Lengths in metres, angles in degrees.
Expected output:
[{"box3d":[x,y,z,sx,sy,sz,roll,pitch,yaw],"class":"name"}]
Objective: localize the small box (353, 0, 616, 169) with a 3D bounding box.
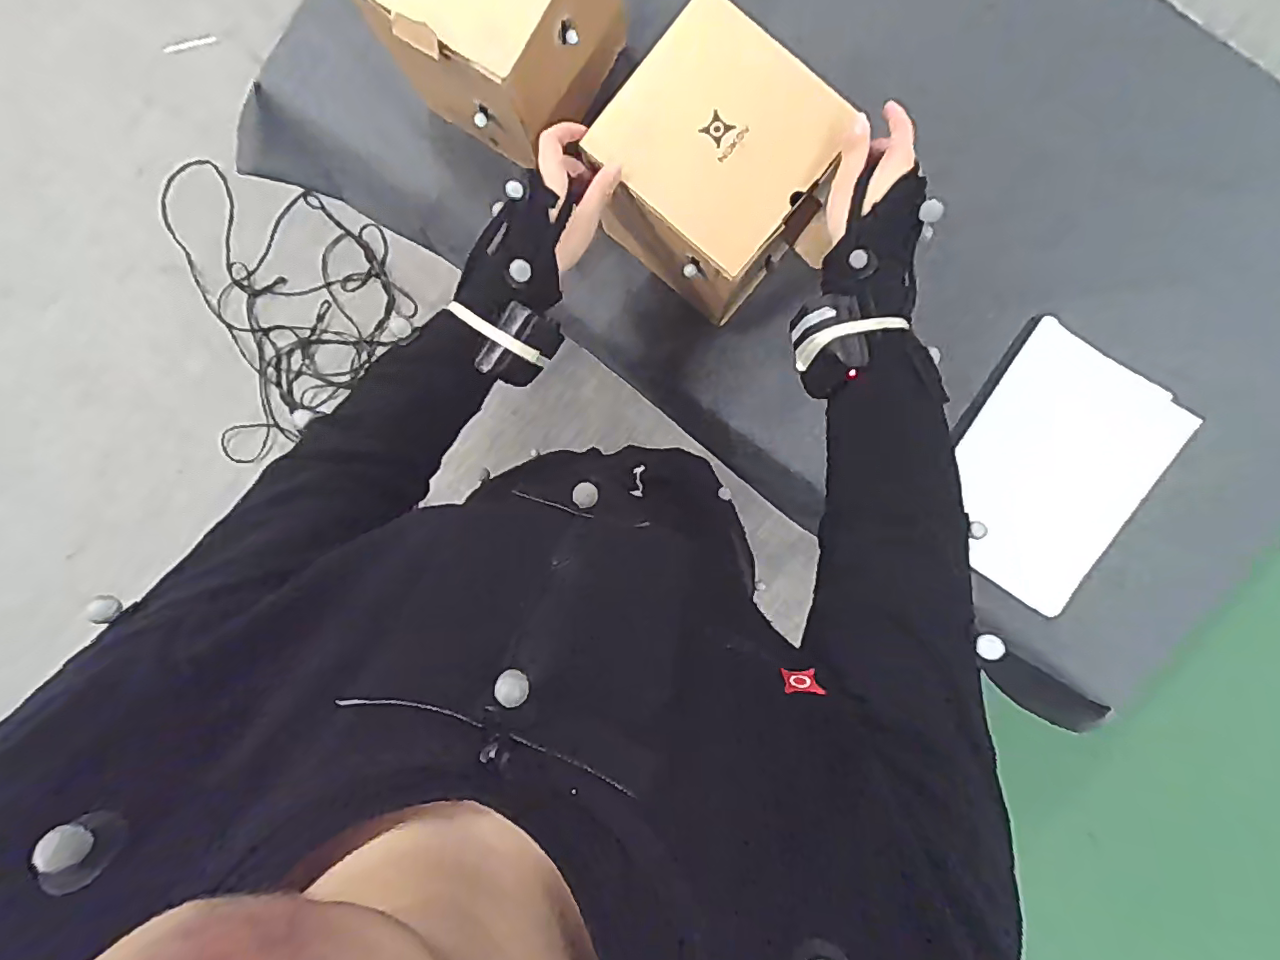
[{"box3d":[-0.133,-0.448,0.520,0.168,0.176,0.179,32,93,0],"class":"small box"}]
